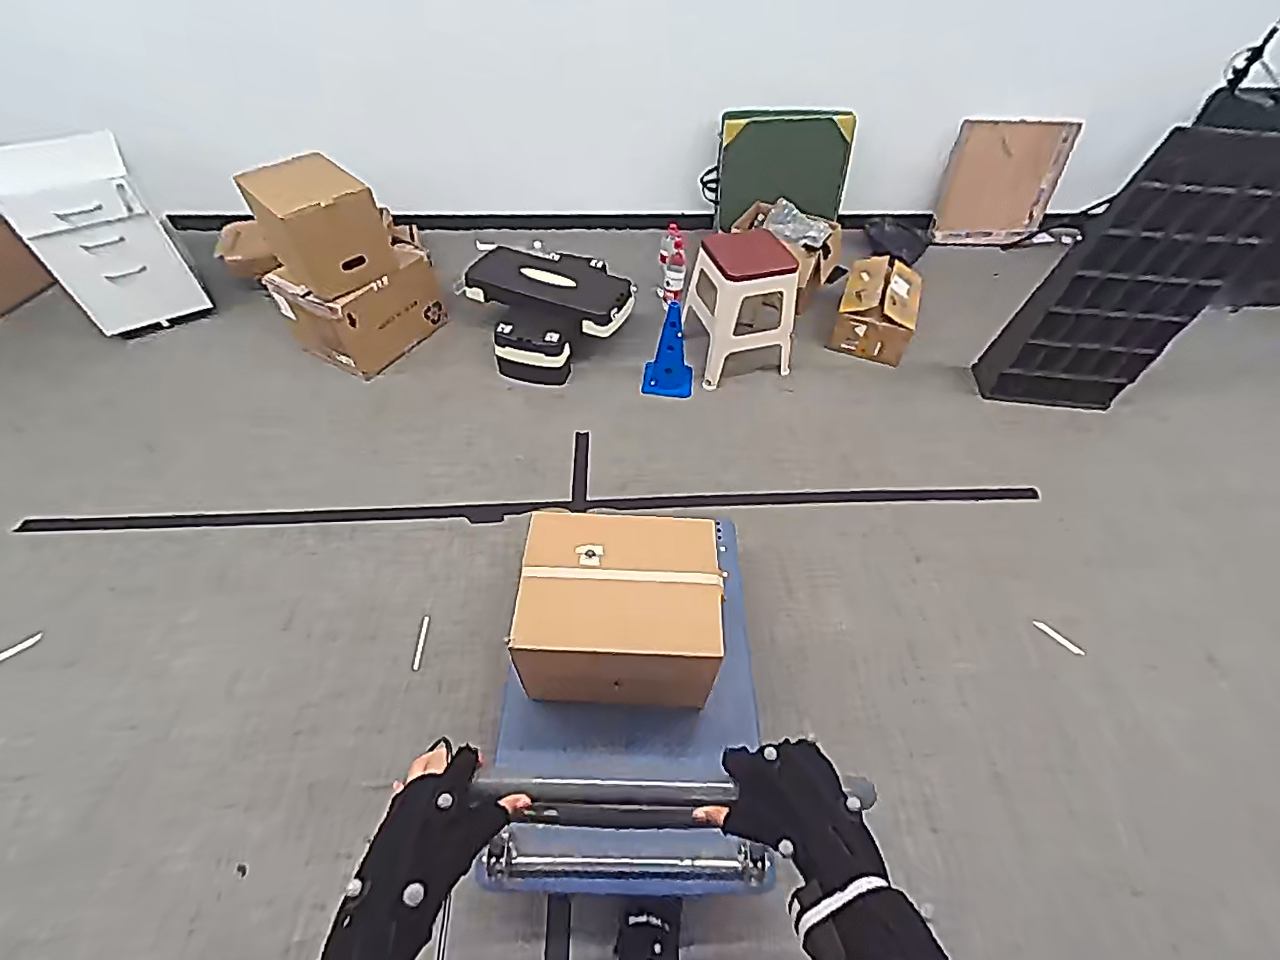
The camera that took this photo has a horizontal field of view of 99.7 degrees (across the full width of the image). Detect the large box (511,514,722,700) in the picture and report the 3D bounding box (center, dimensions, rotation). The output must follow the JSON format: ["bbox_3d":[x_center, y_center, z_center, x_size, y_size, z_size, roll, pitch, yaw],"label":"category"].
[{"bbox_3d":[-0.043,0.293,1.222,0.408,0.320,0.320,3,51,0],"label":"large box"}]
